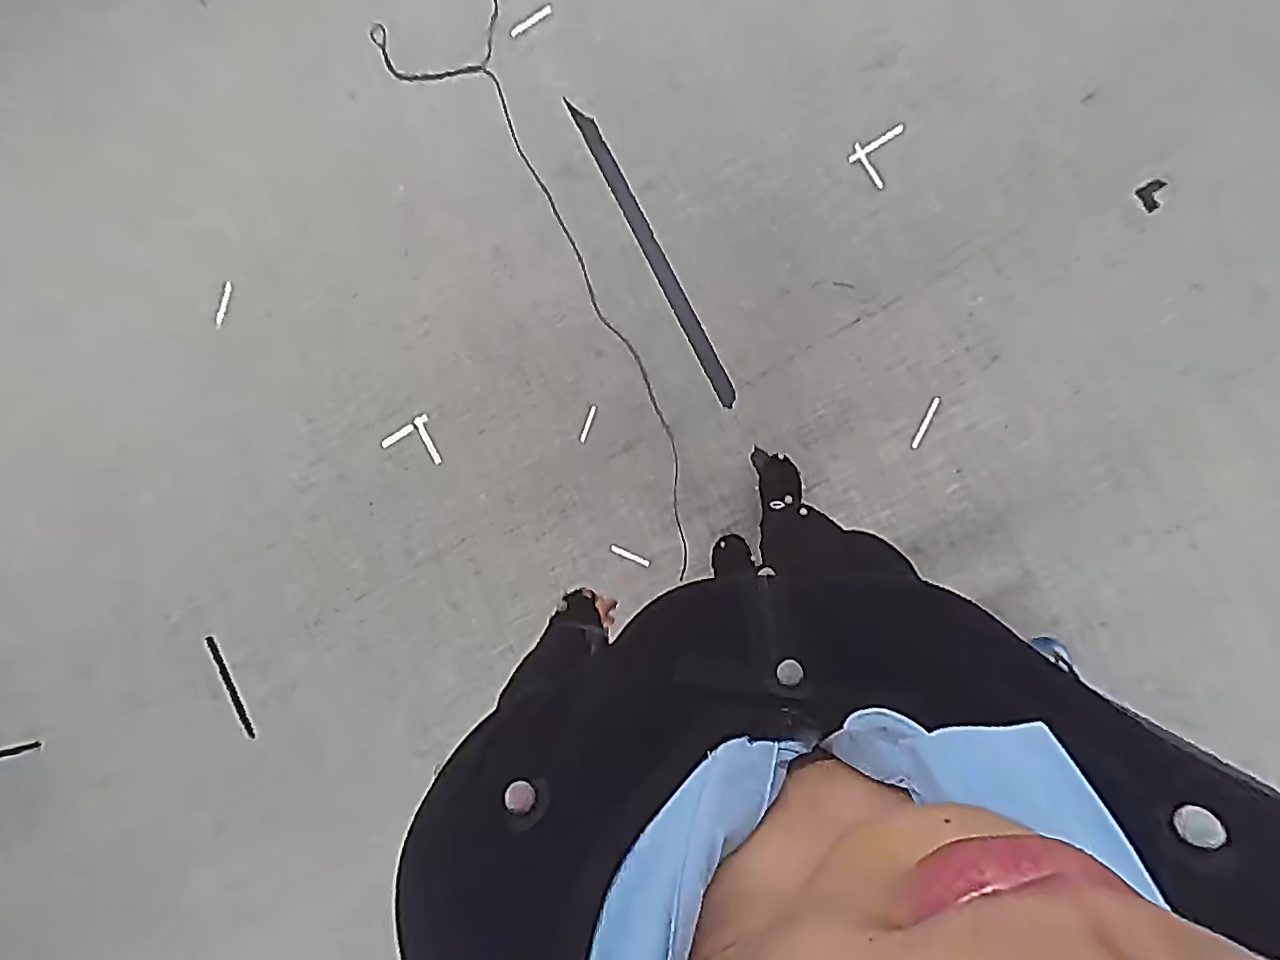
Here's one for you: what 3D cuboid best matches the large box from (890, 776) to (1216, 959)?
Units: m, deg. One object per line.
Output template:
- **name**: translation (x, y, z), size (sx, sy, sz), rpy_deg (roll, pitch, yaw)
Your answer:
- **large box**: translation (0.779, 0.849, 1.059), size (0.408, 0.320, 0.320), rpy_deg (-19, 86, 9)
